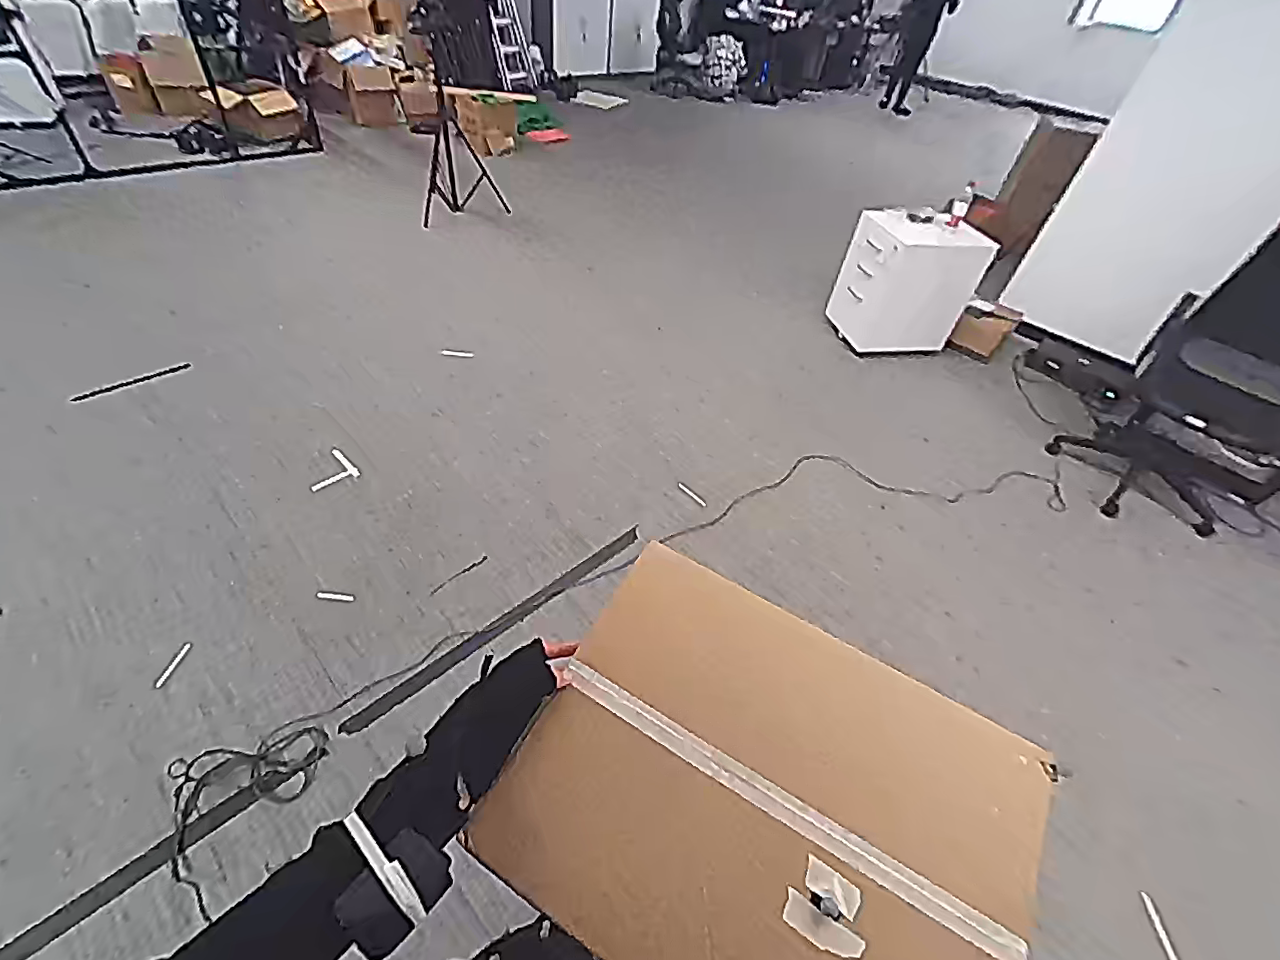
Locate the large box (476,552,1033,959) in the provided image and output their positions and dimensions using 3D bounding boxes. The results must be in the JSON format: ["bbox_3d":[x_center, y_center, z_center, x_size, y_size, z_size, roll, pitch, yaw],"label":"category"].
[{"bbox_3d":[0.103,0.350,0.588,0.408,0.320,0.320,27,60,16],"label":"large box"}]
